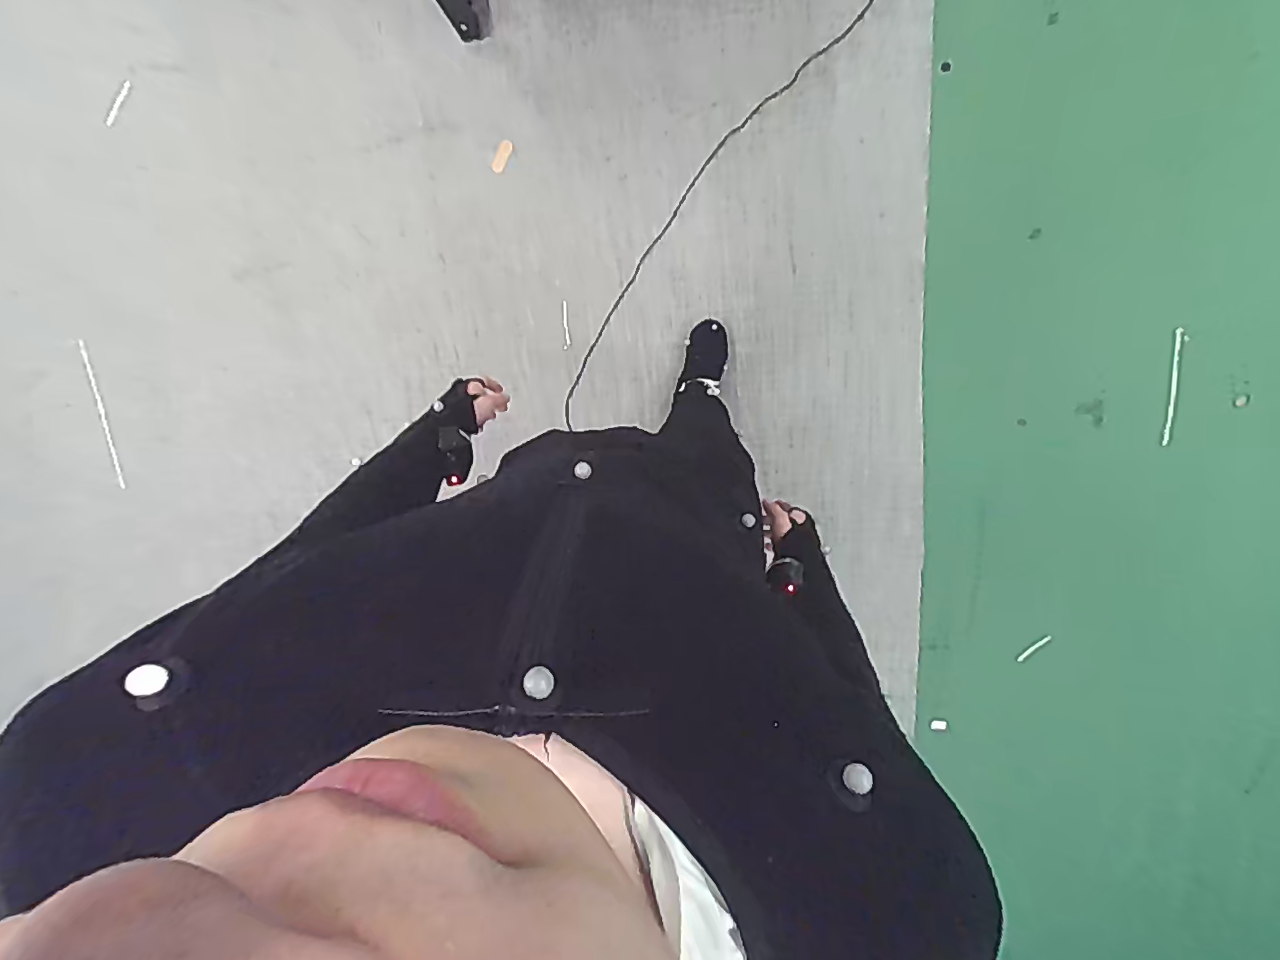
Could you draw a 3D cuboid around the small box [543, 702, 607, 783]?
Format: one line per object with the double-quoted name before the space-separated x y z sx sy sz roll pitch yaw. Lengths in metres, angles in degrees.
"small box" -0.203 0.831 1.726 0.179 0.176 0.168 0 102 4
